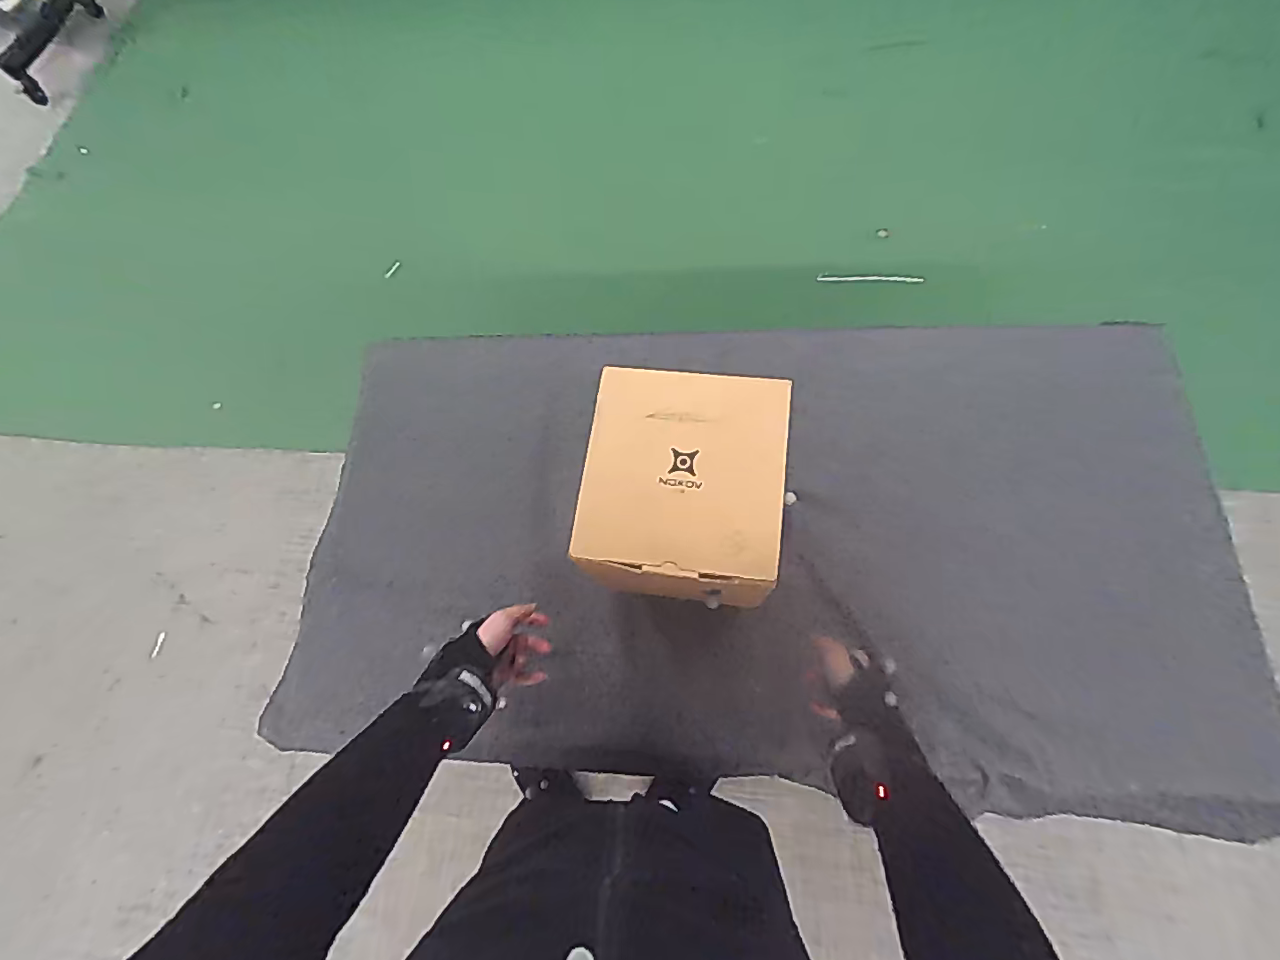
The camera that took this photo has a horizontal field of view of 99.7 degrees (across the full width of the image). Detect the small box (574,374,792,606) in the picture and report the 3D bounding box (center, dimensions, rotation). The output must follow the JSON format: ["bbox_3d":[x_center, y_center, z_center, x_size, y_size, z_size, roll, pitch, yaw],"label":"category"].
[{"bbox_3d":[0.046,0.020,0.521,0.168,0.176,0.179,6,71,7],"label":"small box"}]
